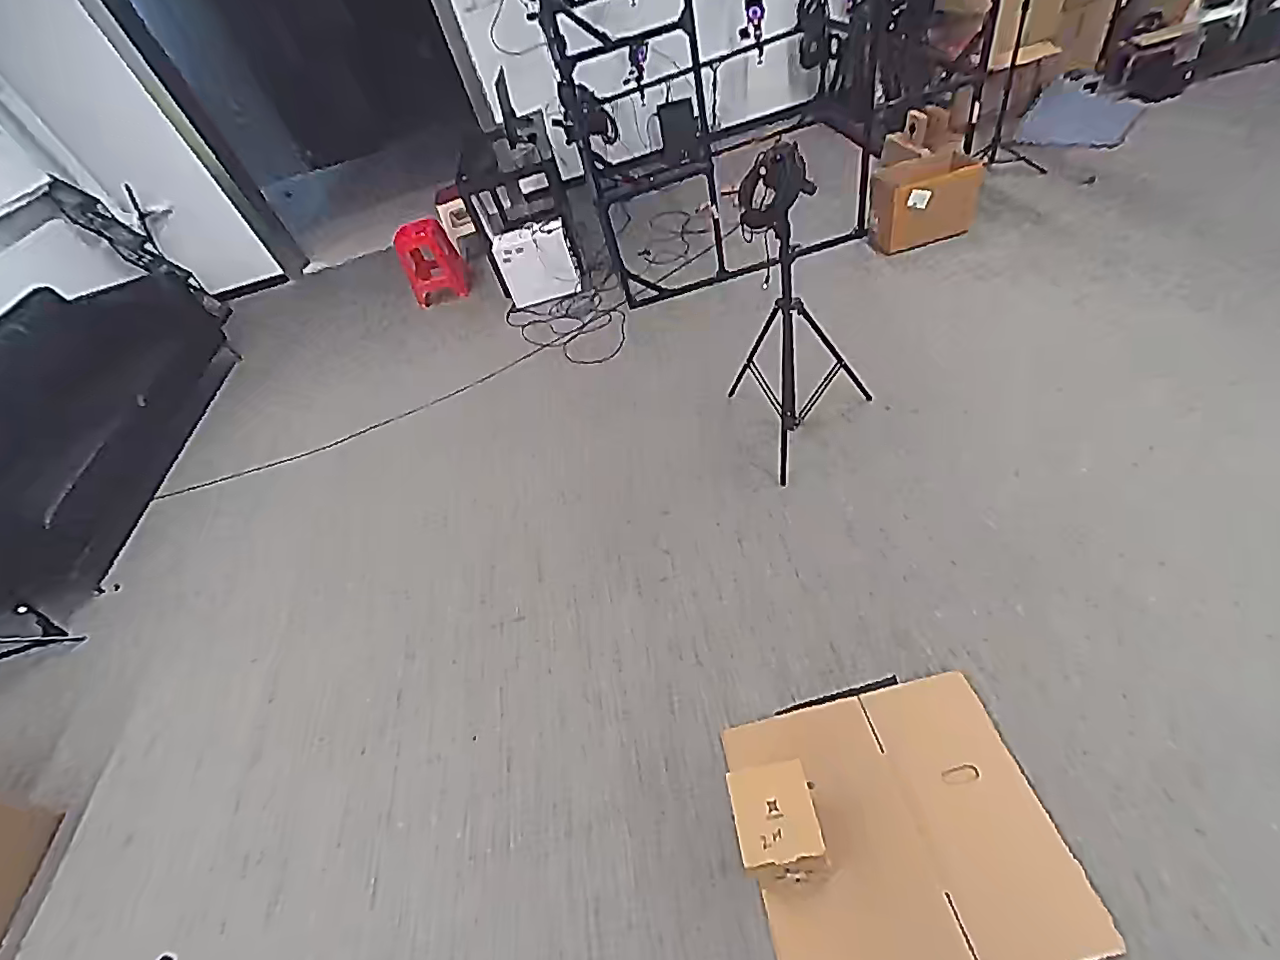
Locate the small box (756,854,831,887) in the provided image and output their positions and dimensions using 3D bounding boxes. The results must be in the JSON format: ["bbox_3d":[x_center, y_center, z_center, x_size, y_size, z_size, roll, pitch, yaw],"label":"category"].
[{"bbox_3d":[0.342,0.838,1.272,0.168,0.176,0.179,-15,47,5],"label":"small box"}]

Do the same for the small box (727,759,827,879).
[{"bbox_3d":[0.291,0.728,1.159,0.168,0.176,0.179,-14,46,6],"label":"small box"}]
